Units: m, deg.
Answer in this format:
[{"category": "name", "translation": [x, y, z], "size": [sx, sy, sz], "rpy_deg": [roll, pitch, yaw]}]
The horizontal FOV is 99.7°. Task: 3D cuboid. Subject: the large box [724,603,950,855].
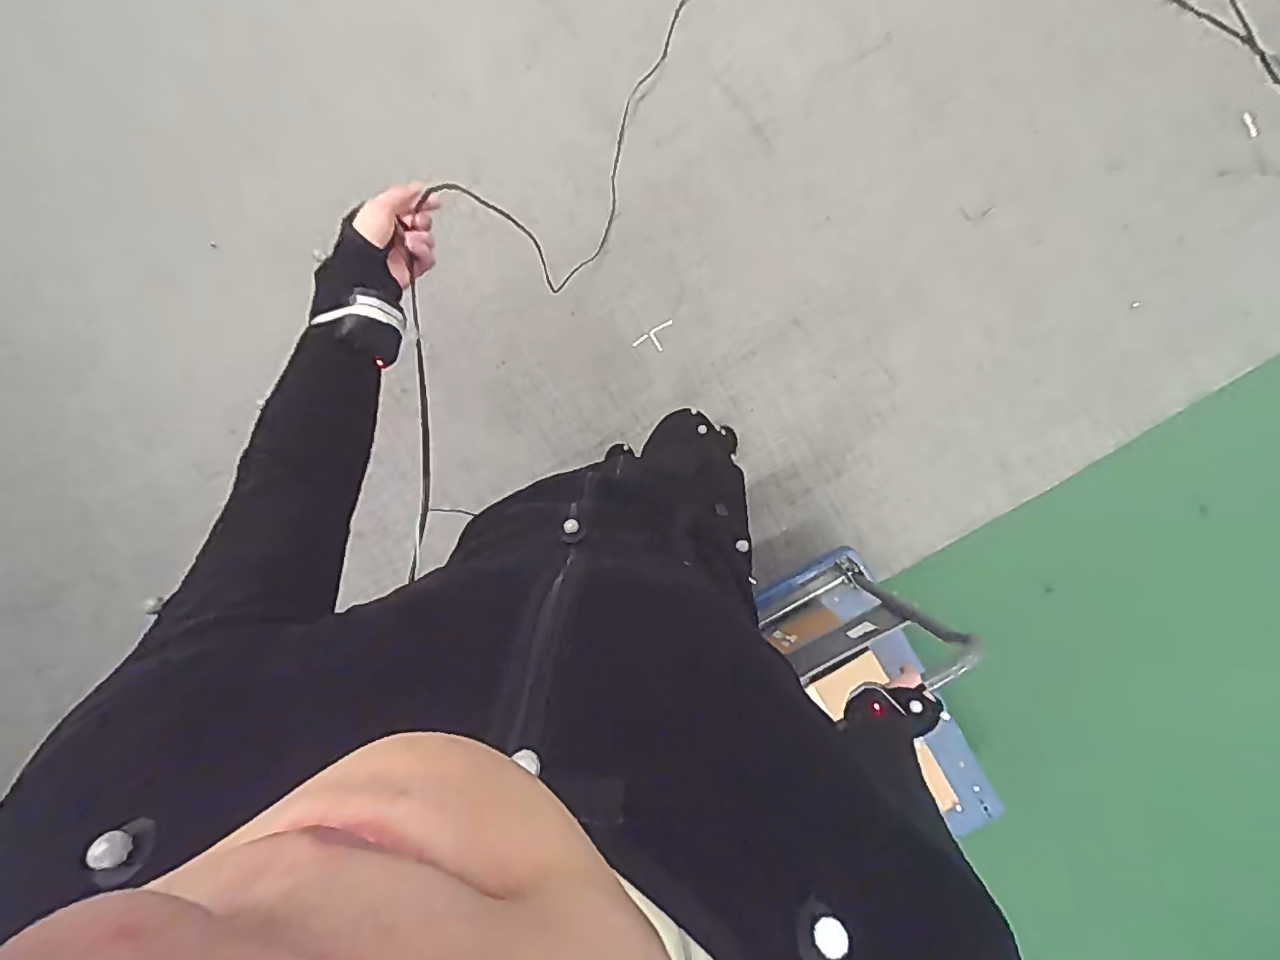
[{"category": "large box", "translation": [0.456, 0.585, 1.339], "size": [0.320, 0.320, 0.408], "rpy_deg": [-31, 94, 3]}]
